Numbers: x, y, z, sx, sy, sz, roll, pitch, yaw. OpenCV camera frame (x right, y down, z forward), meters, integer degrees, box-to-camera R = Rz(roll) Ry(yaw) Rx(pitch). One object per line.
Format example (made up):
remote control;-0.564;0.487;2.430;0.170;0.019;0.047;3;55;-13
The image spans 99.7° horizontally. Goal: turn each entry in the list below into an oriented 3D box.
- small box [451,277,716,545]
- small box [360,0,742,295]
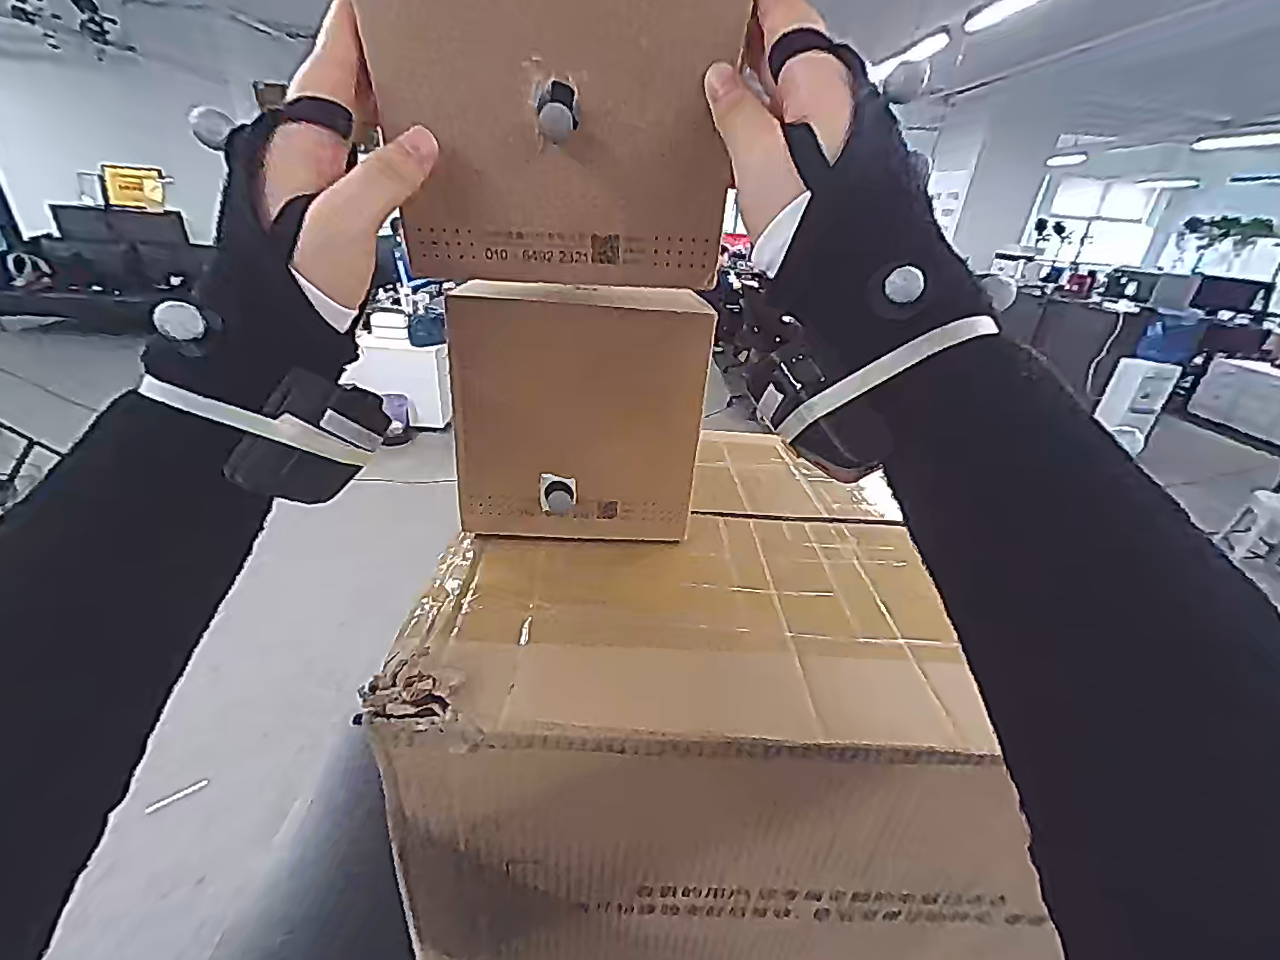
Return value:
small box;-0.045;-0.064;0.437;0.168;0.176;0.179;1;26;-6
small box;-0.038;-0.218;0.315;0.168;0.176;0.179;2;38;-3
